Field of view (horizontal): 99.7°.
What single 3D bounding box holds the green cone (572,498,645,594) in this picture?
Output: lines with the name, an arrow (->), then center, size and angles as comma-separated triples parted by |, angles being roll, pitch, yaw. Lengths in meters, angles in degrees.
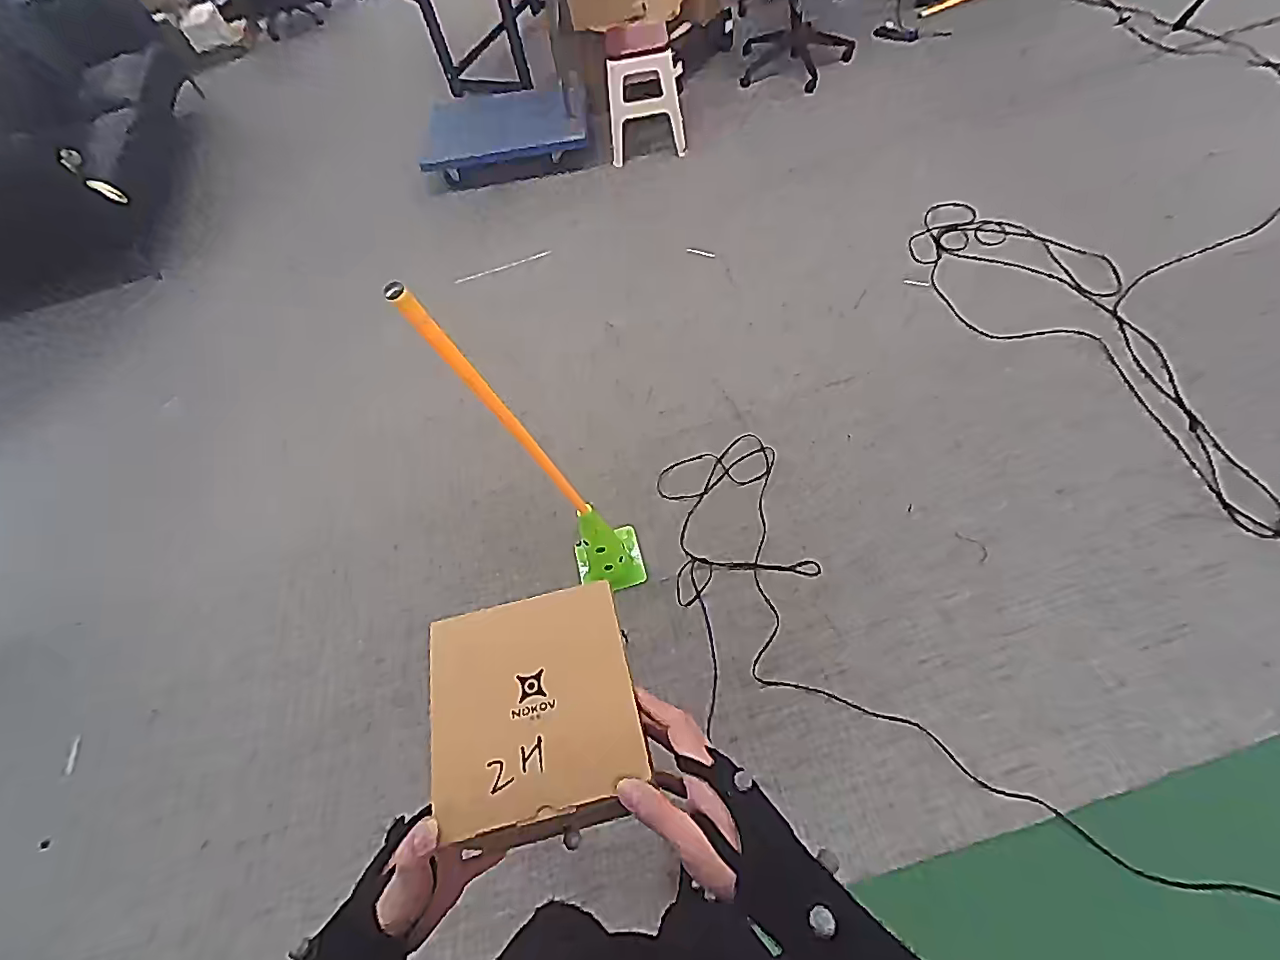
green cone -> -0.119, 0.156, 1.524 | 0.202, 0.368, 0.200 | -16, 59, -2
